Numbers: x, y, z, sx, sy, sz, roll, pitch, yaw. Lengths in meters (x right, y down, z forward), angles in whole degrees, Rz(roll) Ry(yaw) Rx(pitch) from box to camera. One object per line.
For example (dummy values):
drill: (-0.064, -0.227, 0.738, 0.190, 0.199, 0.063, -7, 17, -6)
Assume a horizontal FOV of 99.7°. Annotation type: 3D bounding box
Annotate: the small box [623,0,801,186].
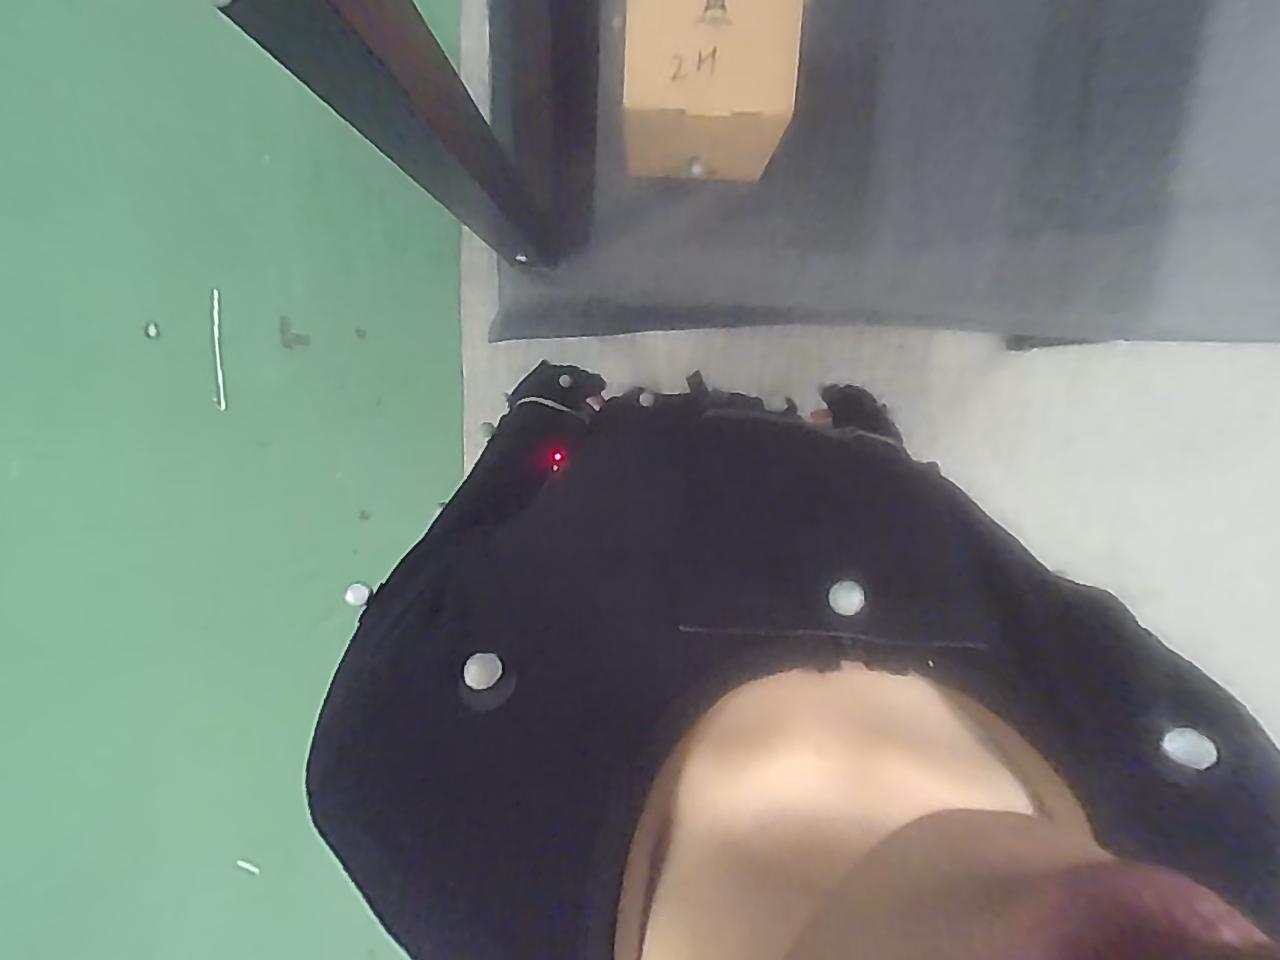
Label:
small box: (0.069, -0.449, 0.588, 0.168, 0.176, 0.179, 3, 99, 1)
